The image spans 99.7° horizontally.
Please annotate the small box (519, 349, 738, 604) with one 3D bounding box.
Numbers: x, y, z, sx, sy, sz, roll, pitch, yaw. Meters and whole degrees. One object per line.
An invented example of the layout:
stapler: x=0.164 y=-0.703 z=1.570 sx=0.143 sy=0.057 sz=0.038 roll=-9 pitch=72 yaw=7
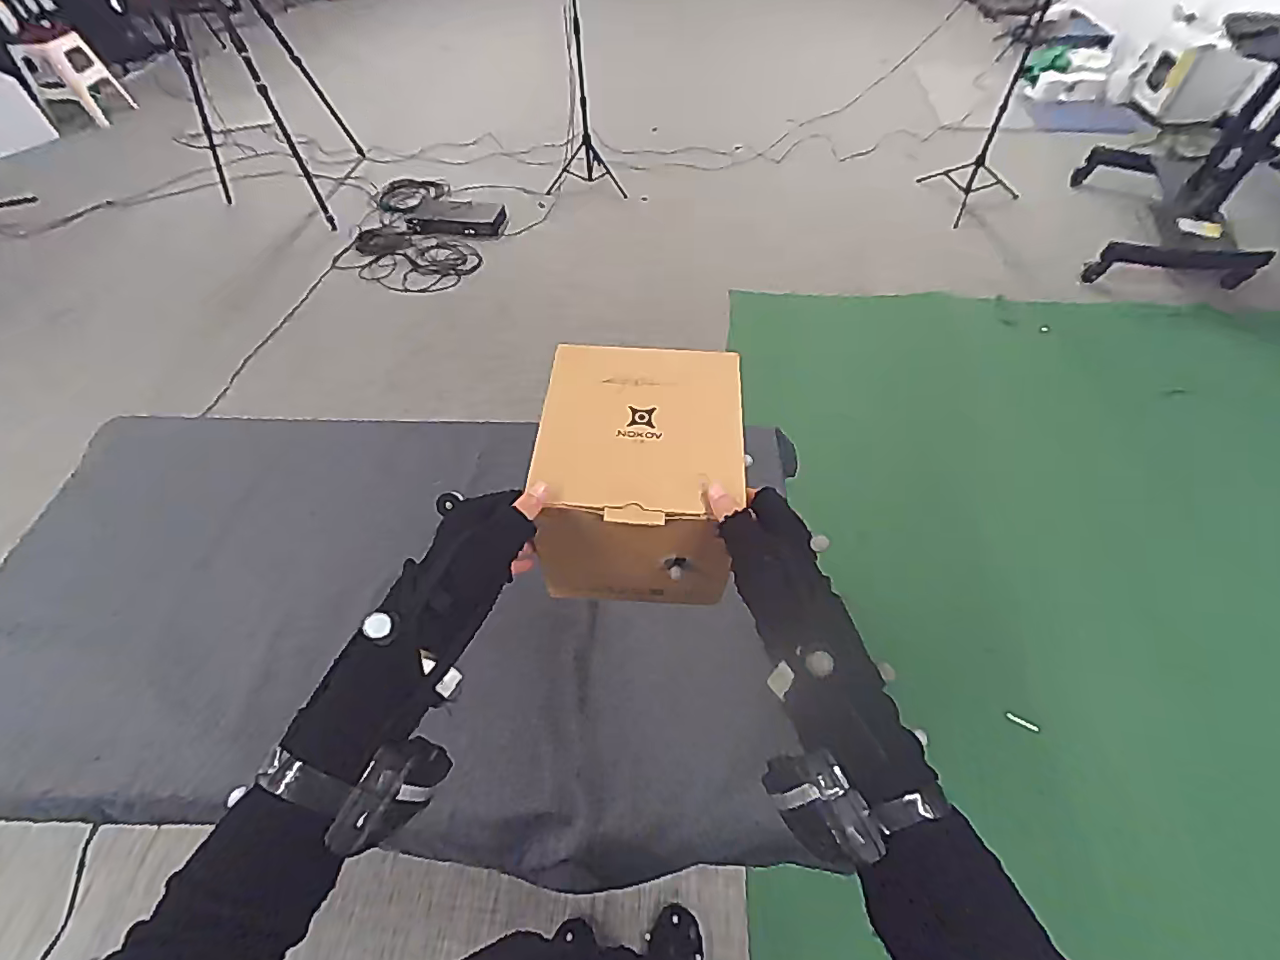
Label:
small box: x=-0.003 y=0.003 z=0.507 sx=0.168 sy=0.176 sz=0.179 roll=4 pitch=54 yaw=1
